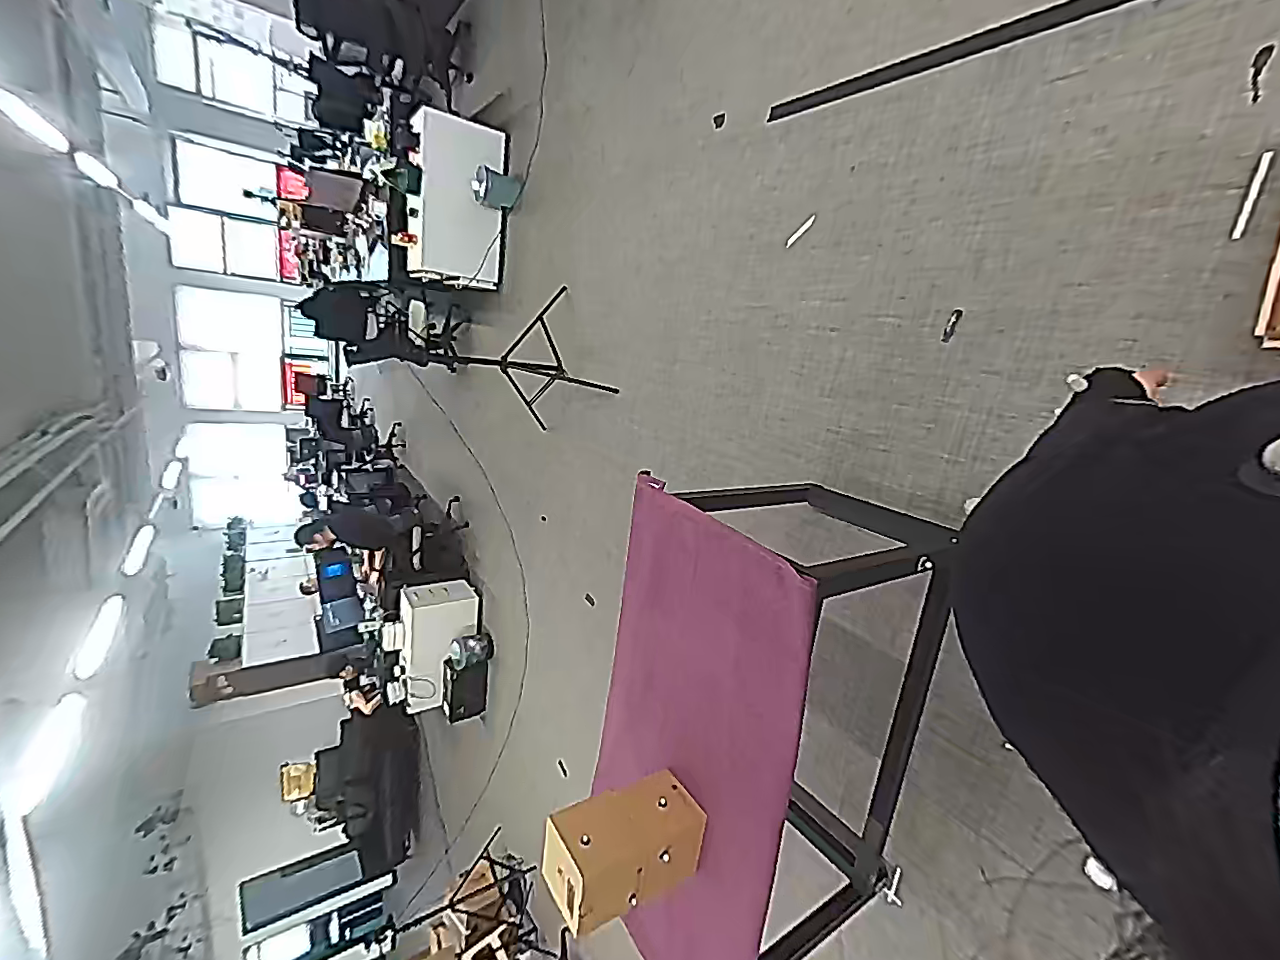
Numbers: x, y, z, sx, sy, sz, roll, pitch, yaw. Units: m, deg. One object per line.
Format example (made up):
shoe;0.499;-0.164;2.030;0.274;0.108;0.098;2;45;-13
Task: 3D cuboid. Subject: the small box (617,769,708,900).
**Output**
small box;0.045;0.846;1.311;0.168;0.176;0.179;28;115;52

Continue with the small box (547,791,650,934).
small box;-0.094;0.850;1.224;0.179;0.176;0.168;26;113;53
